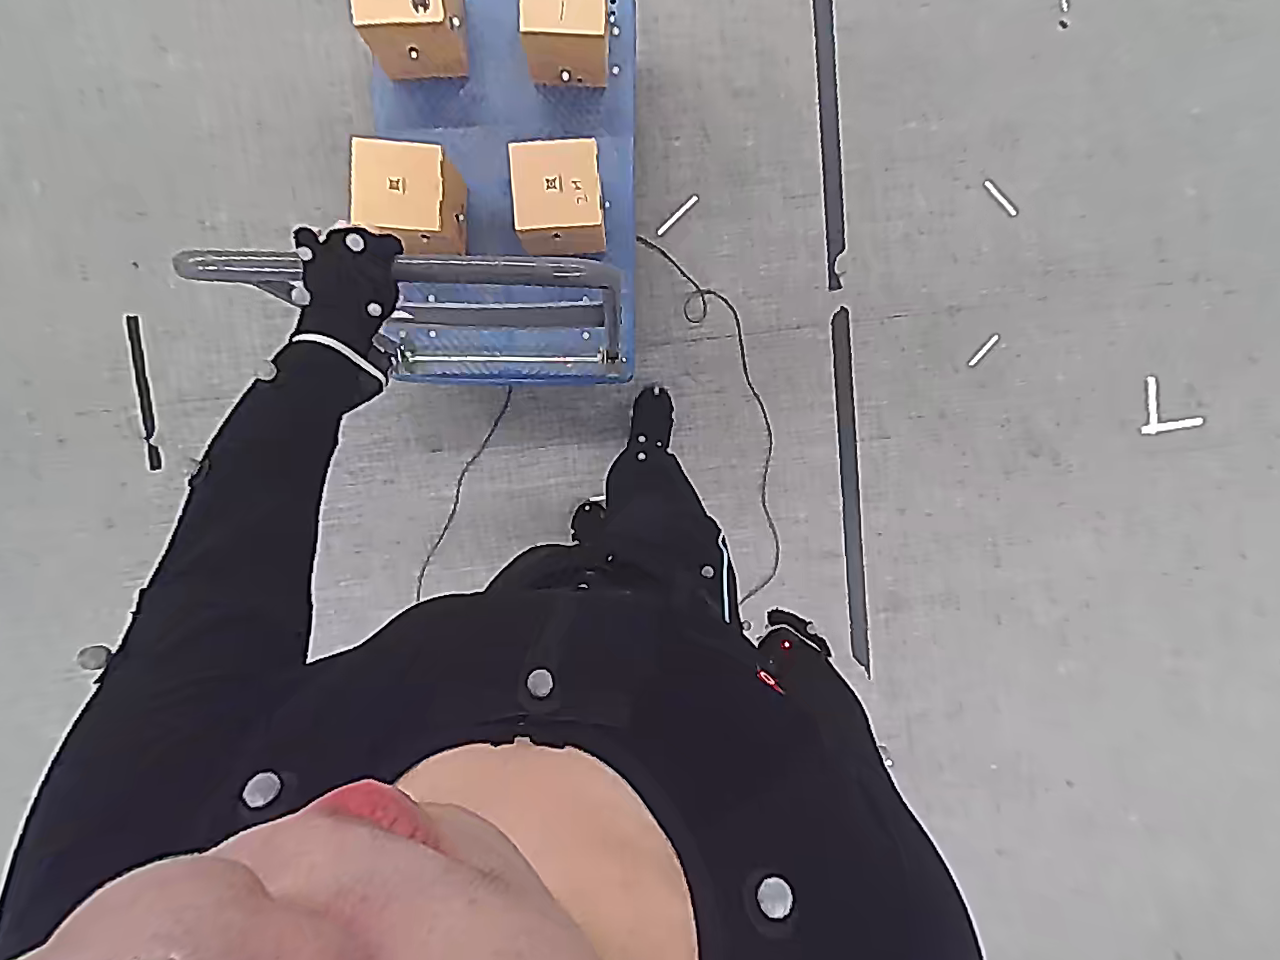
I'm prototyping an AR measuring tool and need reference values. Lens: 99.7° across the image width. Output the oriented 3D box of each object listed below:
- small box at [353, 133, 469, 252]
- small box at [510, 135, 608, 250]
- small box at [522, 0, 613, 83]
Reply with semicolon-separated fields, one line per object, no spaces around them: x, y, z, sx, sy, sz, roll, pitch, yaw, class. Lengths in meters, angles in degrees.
-0.472;-0.590;1.131;0.179;0.176;0.168;3;96;-3;small box
-0.163;-0.594;1.137;0.179;0.176;0.168;-4;96;-1;small box
-0.142;-0.955;1.099;0.168;0.176;0.179;2;97;-1;small box
